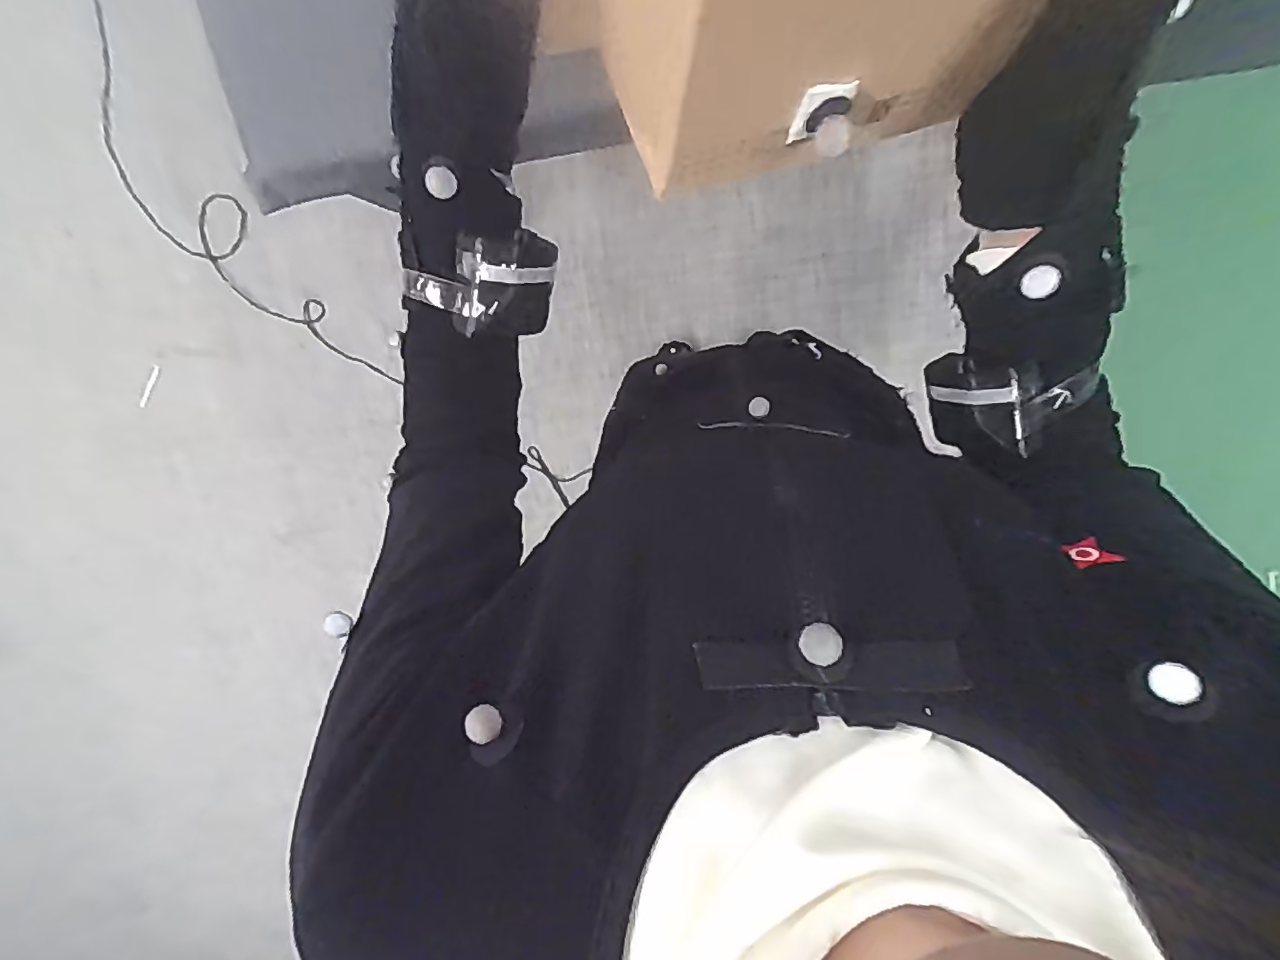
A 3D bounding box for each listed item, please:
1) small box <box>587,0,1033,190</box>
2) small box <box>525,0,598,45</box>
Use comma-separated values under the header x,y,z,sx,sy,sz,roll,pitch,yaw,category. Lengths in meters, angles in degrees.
x,y,z,sx,sy,sz,roll,pitch,yaw,category
0.060,-0.251,0.195,0.168,0.176,0.179,-22,86,-7,small box
-0.035,-0.530,0.479,0.179,0.176,0.168,-5,103,7,small box
